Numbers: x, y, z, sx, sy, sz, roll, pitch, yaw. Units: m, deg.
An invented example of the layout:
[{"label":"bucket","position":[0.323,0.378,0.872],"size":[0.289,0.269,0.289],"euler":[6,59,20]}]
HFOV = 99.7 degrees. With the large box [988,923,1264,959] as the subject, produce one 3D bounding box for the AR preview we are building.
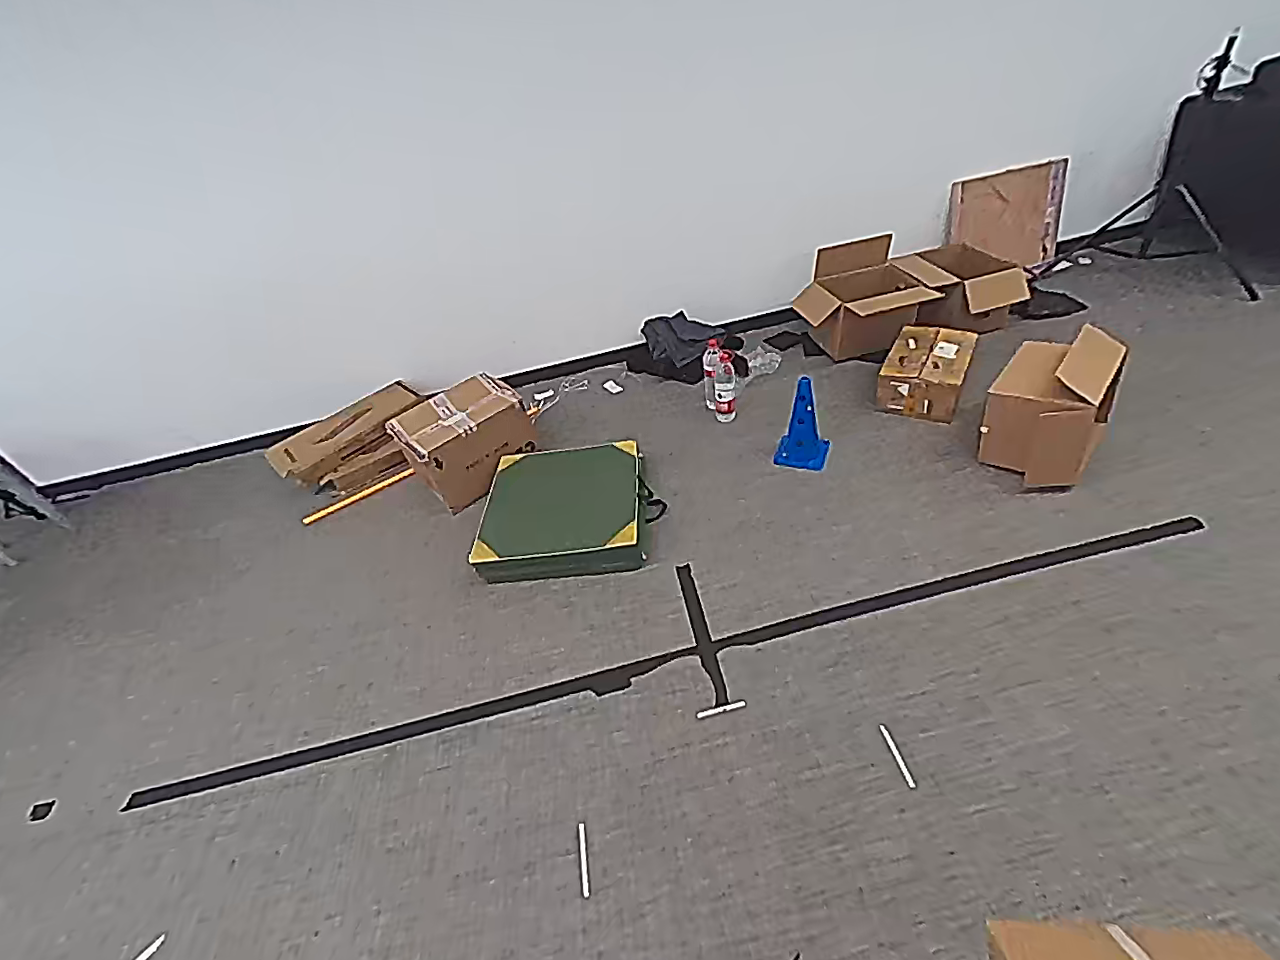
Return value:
[{"label":"large box","position":[0.597,0.736,0.511],"size":[0.320,0.408,0.320],"euler":[-4,85,10]}]
